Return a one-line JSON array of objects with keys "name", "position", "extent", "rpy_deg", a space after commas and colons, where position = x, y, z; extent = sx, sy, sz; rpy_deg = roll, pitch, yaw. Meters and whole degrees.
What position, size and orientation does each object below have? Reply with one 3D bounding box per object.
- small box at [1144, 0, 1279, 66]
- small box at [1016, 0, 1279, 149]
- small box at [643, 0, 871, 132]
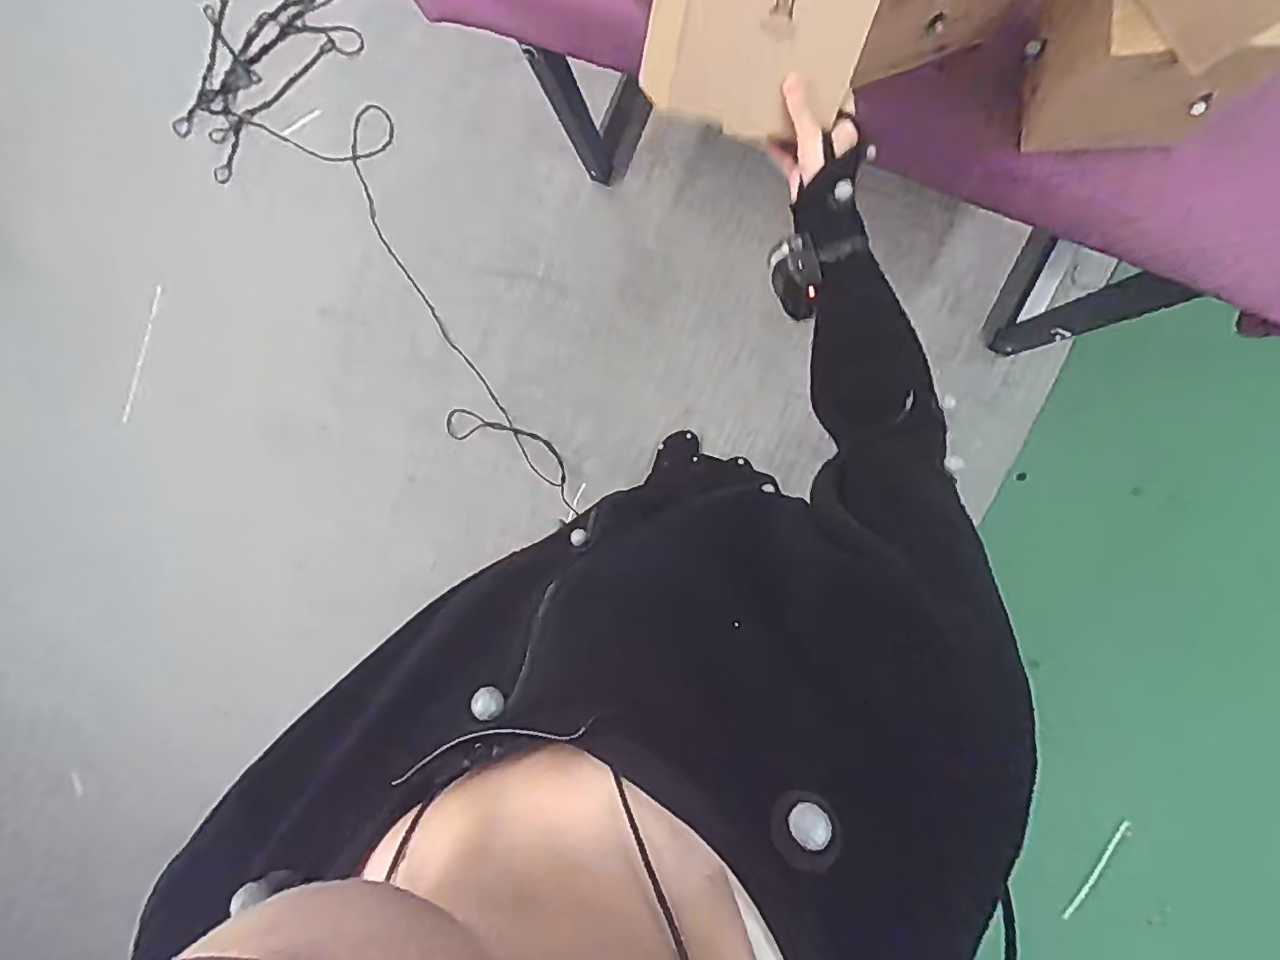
[{"name": "small box", "position": [0.527, -0.489, 0.419], "extent": [0.168, 0.176, 0.179], "rpy_deg": [-31, 88, 8]}, {"name": "small box", "position": [0.548, -0.485, 0.581], "extent": [0.179, 0.176, 0.168], "rpy_deg": [3, 93, 10]}, {"name": "small box", "position": [0.104, -0.461, 0.503], "extent": [0.168, 0.176, 0.179], "rpy_deg": [4, 133, -15]}]
